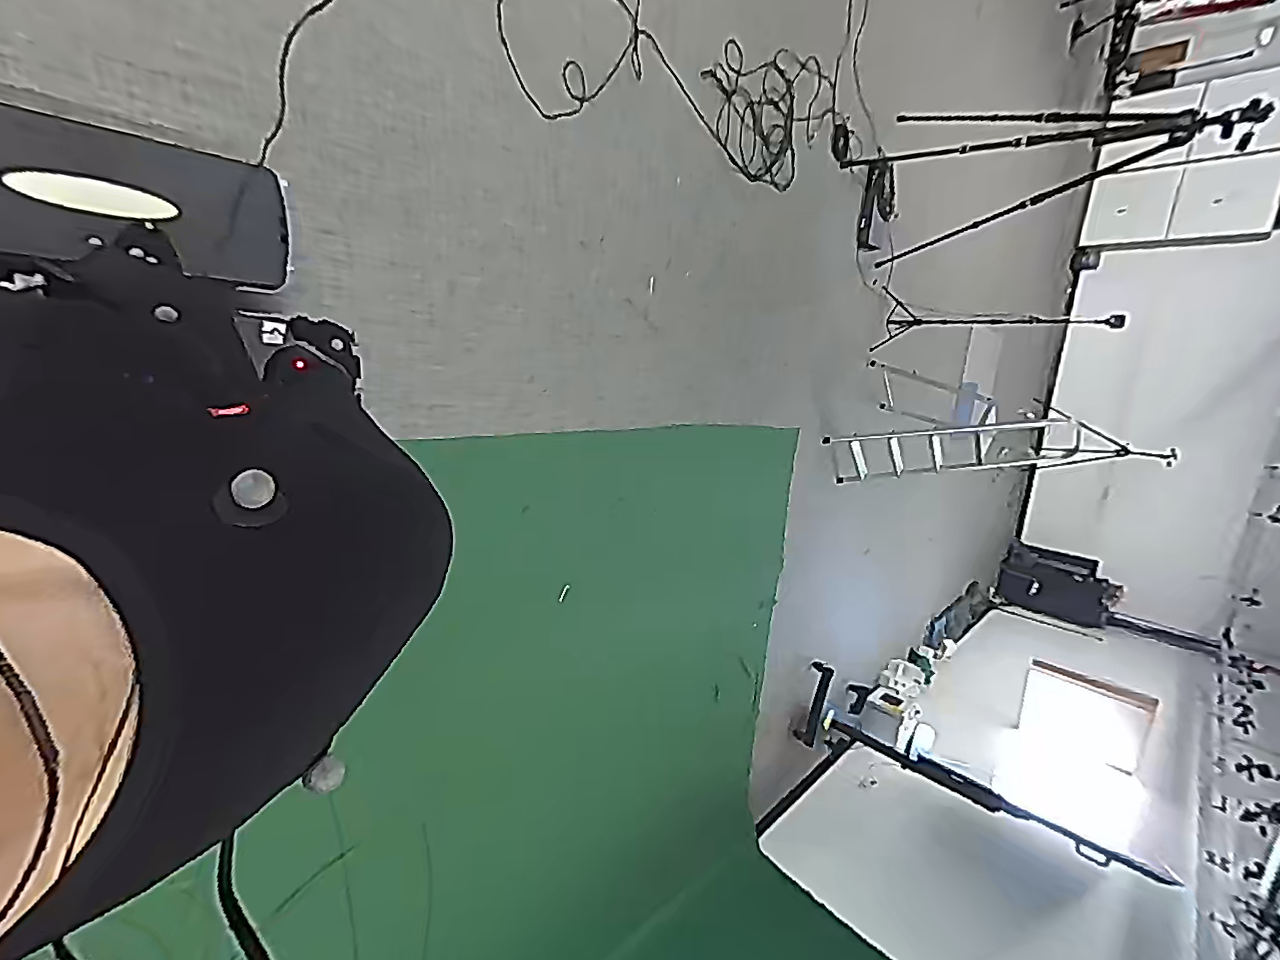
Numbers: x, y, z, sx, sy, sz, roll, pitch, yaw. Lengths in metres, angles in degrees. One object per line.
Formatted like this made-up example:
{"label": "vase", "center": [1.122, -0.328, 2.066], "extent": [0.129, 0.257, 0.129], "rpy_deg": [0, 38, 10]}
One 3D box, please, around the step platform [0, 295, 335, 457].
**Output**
{"label": "step platform", "center": [-0.977, -0.184, 1.008], "extent": [0.684, 0.204, 0.286], "rpy_deg": [-8, 107, -45]}
